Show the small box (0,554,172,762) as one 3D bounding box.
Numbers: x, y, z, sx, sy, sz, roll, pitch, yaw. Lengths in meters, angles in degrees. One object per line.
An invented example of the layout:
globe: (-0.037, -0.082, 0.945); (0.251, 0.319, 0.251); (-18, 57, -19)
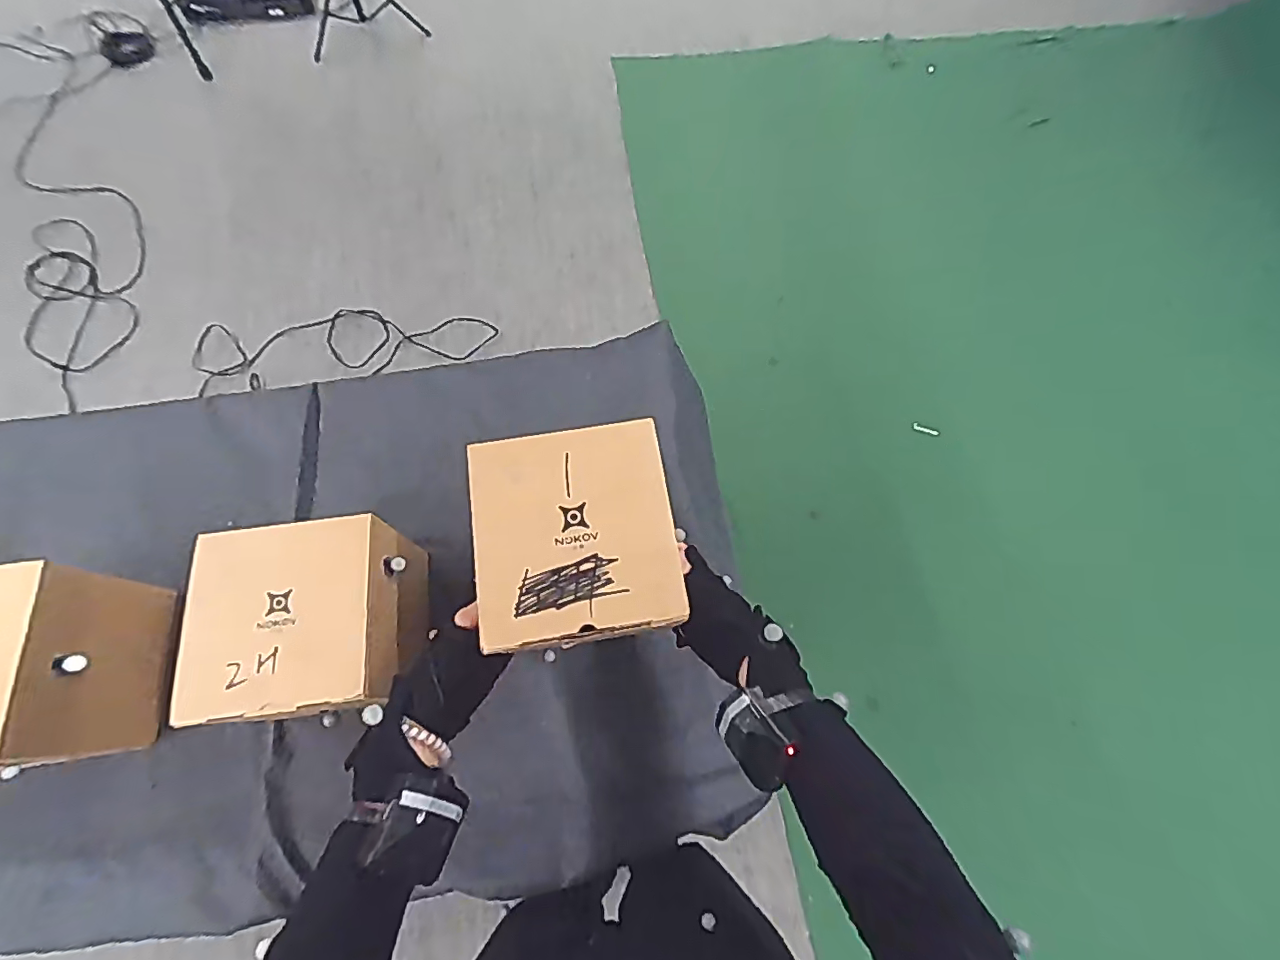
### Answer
small box: (-0.627, 0.187, 0.546); (0.168, 0.176, 0.179); (-7, 70, -6)

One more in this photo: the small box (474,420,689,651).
small box: (-0.053, 0.062, 0.523); (0.168, 0.176, 0.179); (-8, 73, -4)

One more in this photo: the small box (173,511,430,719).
small box: (-0.332, 0.147, 0.573); (0.168, 0.176, 0.179); (-6, 70, -5)
